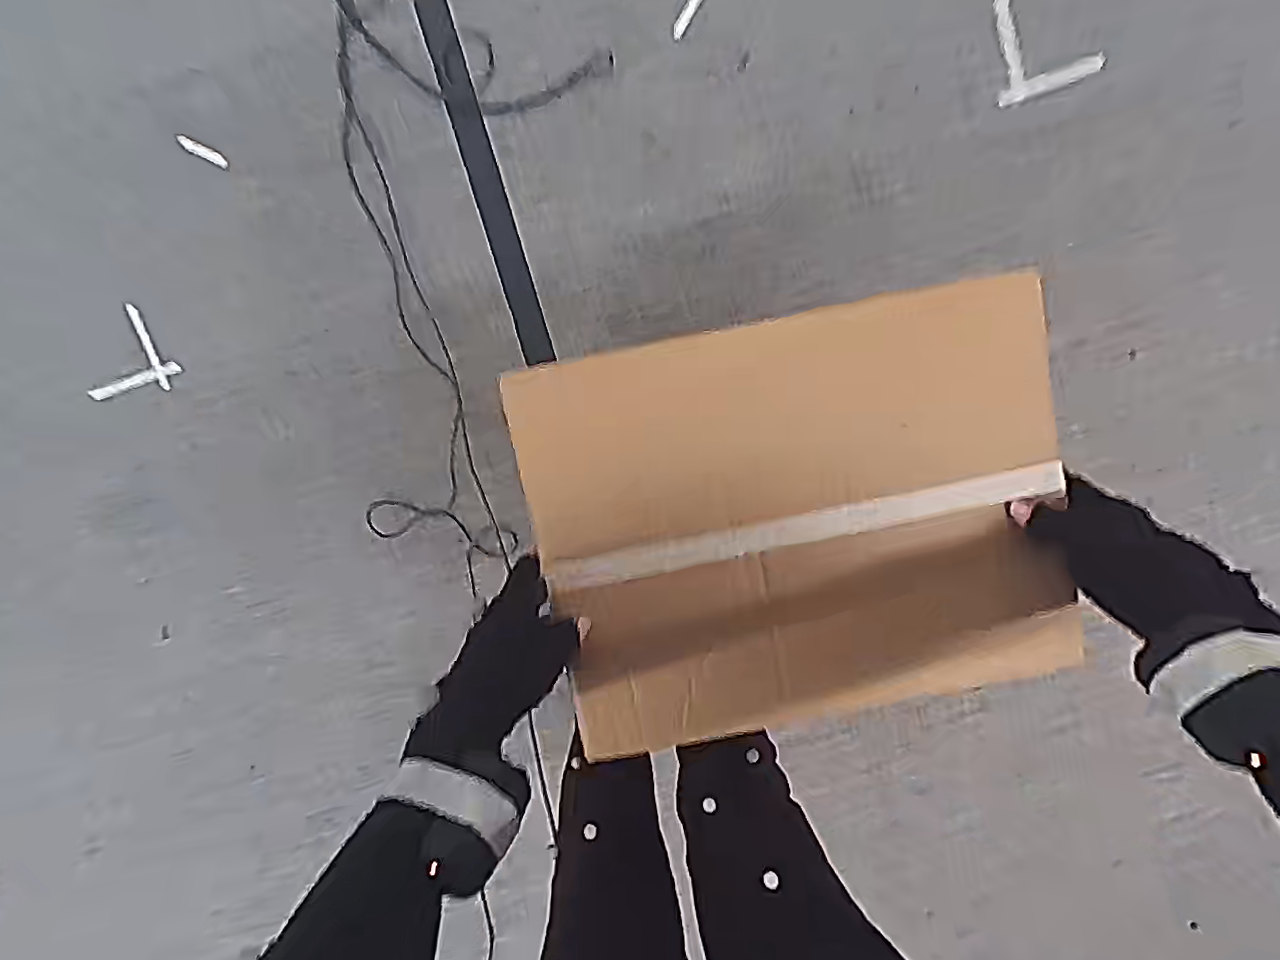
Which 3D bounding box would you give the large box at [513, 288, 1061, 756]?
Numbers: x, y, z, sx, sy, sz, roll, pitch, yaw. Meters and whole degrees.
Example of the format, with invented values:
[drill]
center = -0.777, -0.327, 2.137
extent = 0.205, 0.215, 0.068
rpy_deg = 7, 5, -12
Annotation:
[large box]
center = 0.124, 0.024, 0.579
extent = 0.408, 0.320, 0.320
rpy_deg = -12, 95, 0
